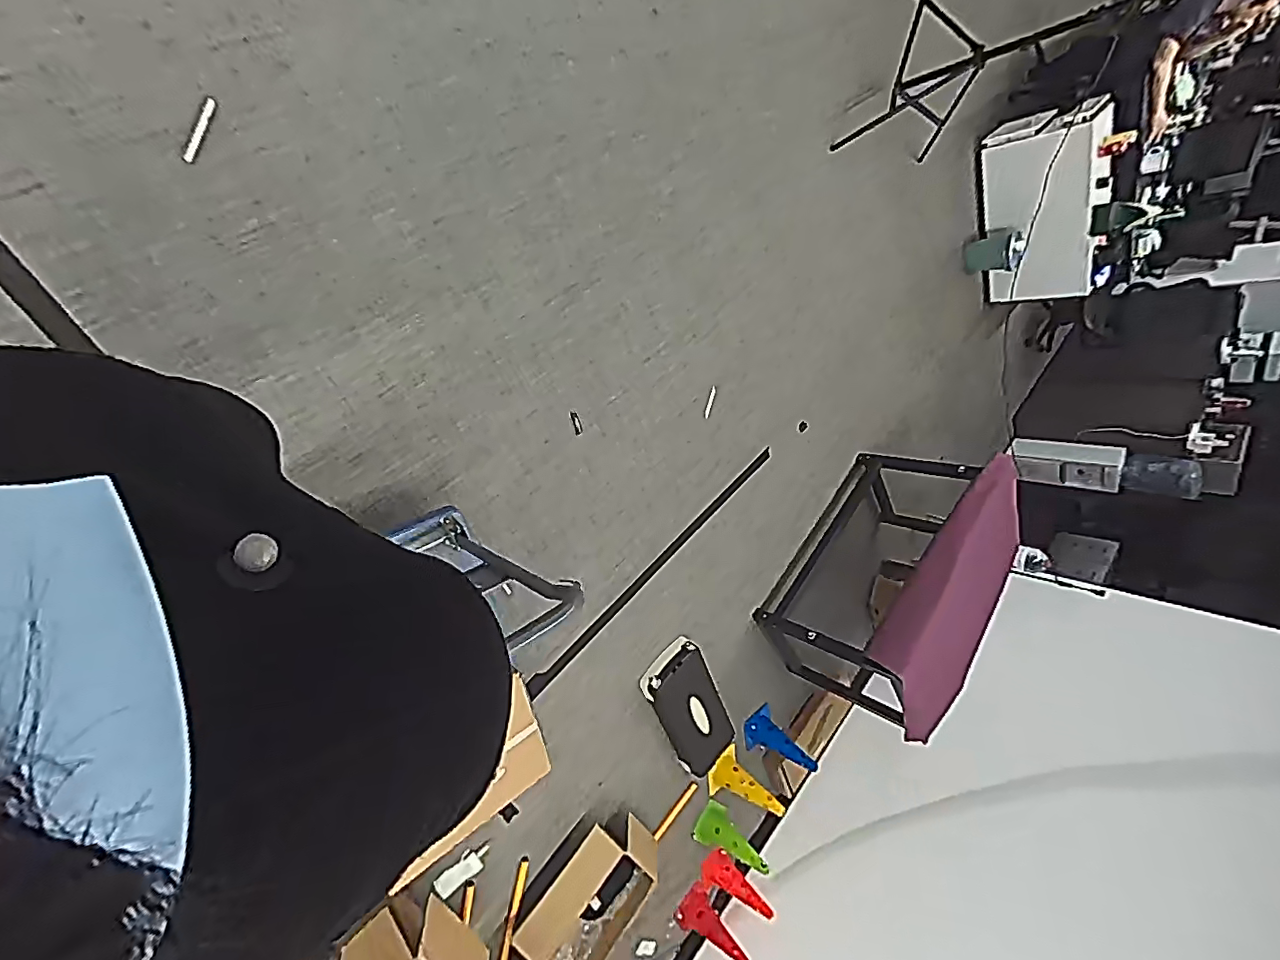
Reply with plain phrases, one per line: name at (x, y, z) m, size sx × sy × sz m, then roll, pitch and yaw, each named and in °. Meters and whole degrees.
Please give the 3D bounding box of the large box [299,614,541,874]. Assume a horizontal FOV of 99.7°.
large box at (-0.517, 0.593, 1.297) m, size 0.408 × 0.320 × 0.320 m, roll -27°, pitch 117°, yaw -35°
